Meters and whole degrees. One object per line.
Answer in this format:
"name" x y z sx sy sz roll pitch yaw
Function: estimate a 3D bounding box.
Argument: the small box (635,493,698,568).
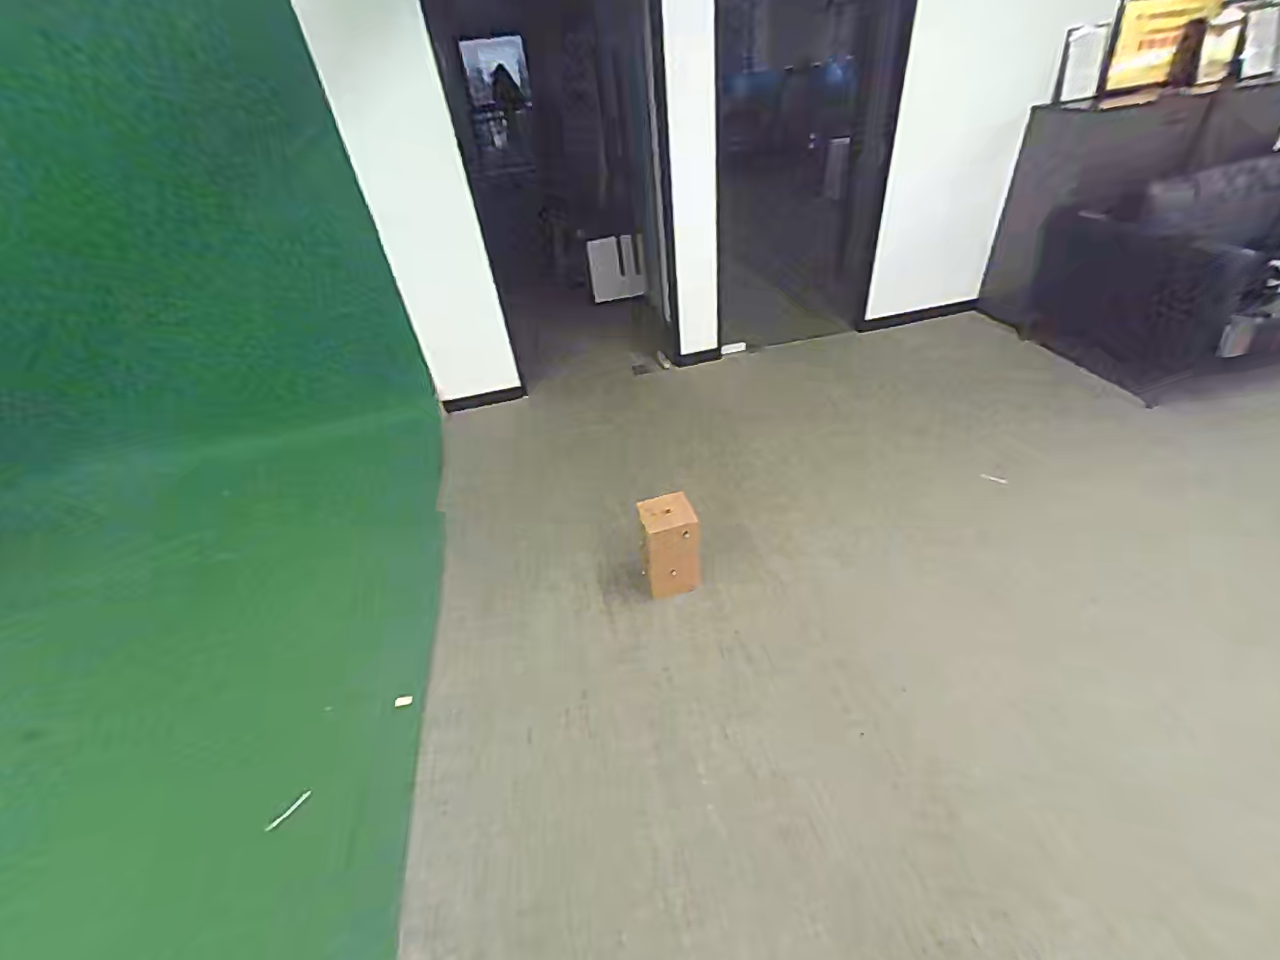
"small box" 0.091 0.172 1.842 0.179 0.176 0.168 -14 39 -8

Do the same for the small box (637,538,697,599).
"small box" 0.098 0.301 1.946 0.179 0.176 0.168 -15 40 -9
